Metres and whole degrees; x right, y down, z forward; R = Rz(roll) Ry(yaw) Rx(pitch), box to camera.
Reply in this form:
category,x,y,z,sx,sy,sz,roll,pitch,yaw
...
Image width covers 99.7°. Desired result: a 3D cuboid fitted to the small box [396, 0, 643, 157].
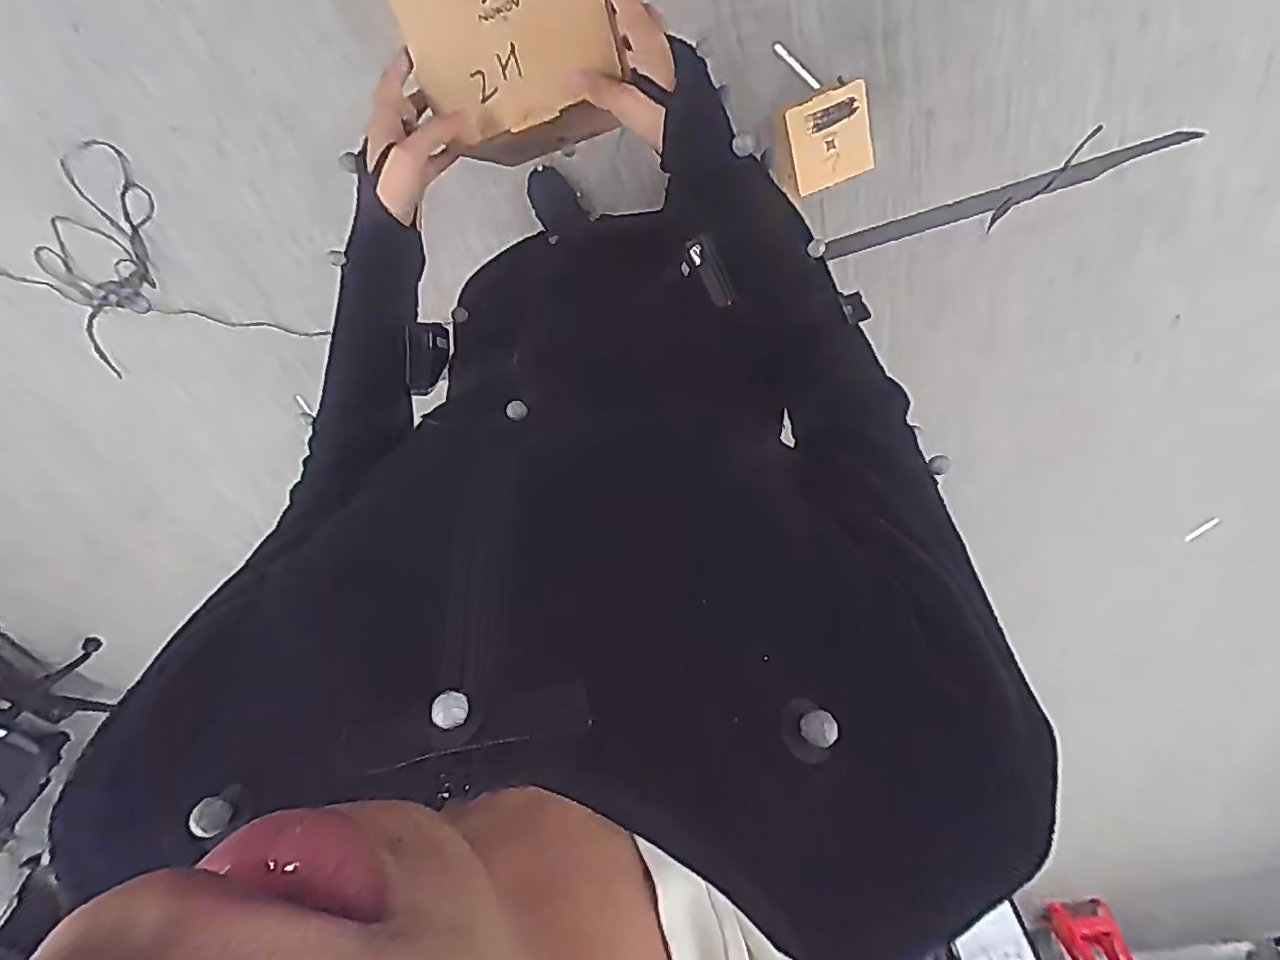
category,x,y,z,sx,sy,sz,roll,pitch,yaw
small box,-0.101,-0.414,0.484,0.168,0.176,0.179,-11,115,13
